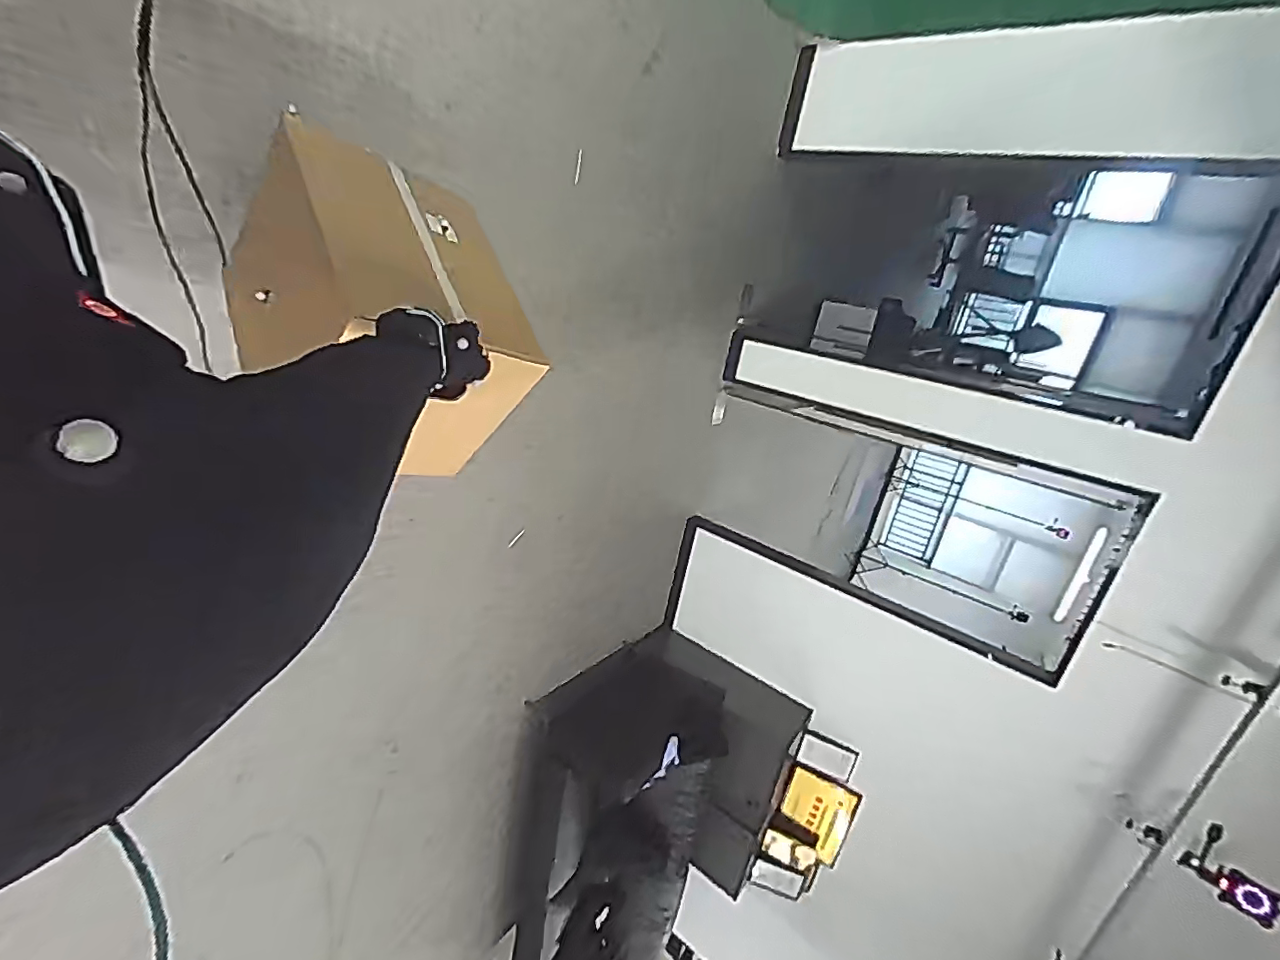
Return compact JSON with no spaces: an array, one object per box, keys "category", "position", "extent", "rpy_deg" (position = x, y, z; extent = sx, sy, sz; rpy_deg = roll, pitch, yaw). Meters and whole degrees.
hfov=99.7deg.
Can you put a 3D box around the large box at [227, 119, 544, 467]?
[{"category":"large box","position":[-0.430,-0.268,0.896],"extent":[0.320,0.408,0.320],"rpy_deg":[-40,156,28]}]
